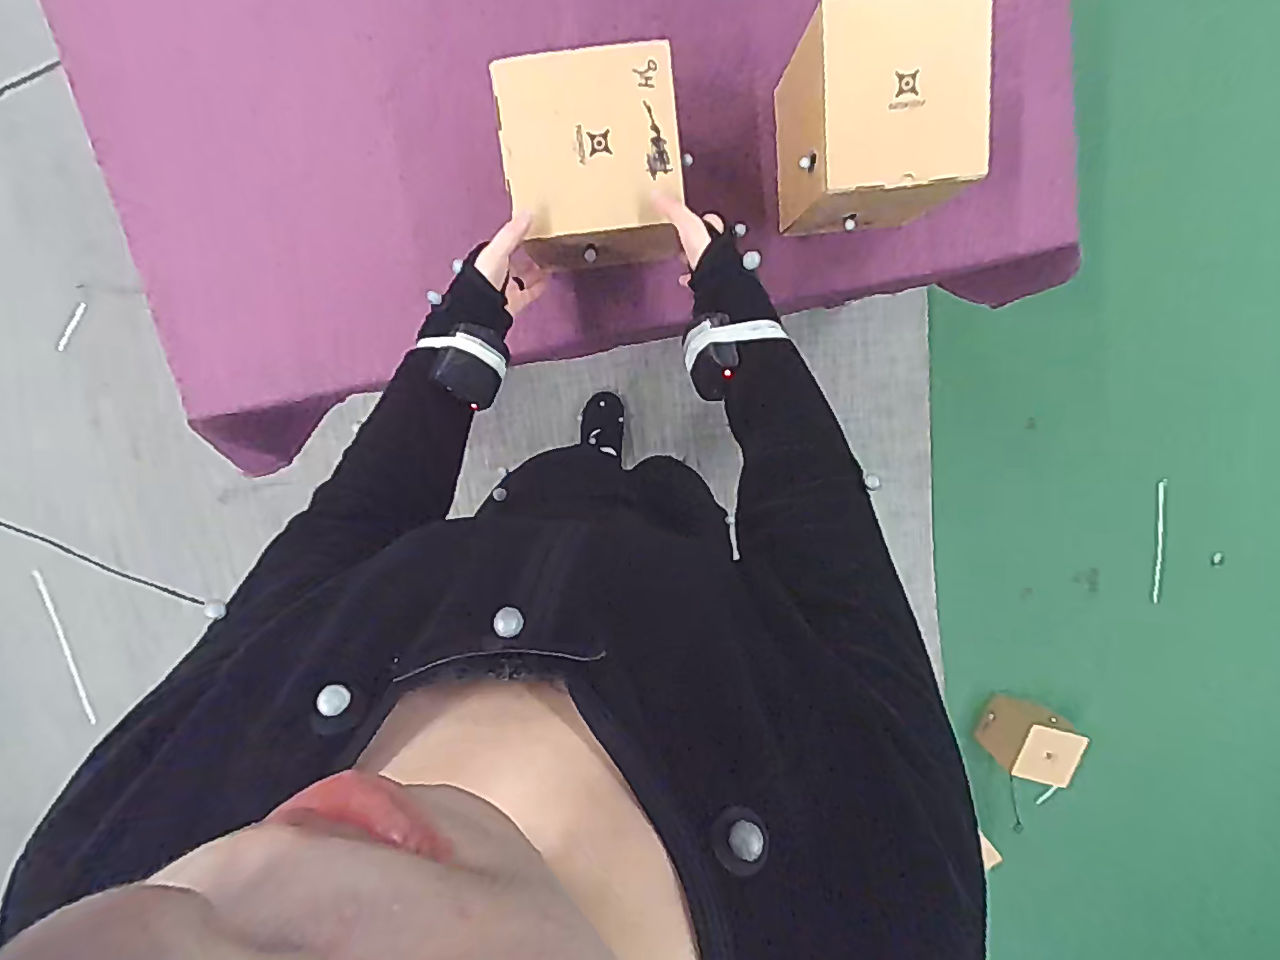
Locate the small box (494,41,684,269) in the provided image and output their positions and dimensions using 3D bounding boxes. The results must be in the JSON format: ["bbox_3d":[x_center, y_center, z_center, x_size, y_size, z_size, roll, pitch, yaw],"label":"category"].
[{"bbox_3d":[-0.047,-0.347,0.613,0.179,0.176,0.168,-6,101,1],"label":"small box"}]

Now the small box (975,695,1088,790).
[{"bbox_3d":[1.137,0.760,1.583,0.179,0.176,0.168,16,99,-4],"label":"small box"}]

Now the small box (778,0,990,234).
[{"bbox_3d":[0.259,-0.398,0.611,0.168,0.176,0.179,-5,101,0],"label":"small box"}]
